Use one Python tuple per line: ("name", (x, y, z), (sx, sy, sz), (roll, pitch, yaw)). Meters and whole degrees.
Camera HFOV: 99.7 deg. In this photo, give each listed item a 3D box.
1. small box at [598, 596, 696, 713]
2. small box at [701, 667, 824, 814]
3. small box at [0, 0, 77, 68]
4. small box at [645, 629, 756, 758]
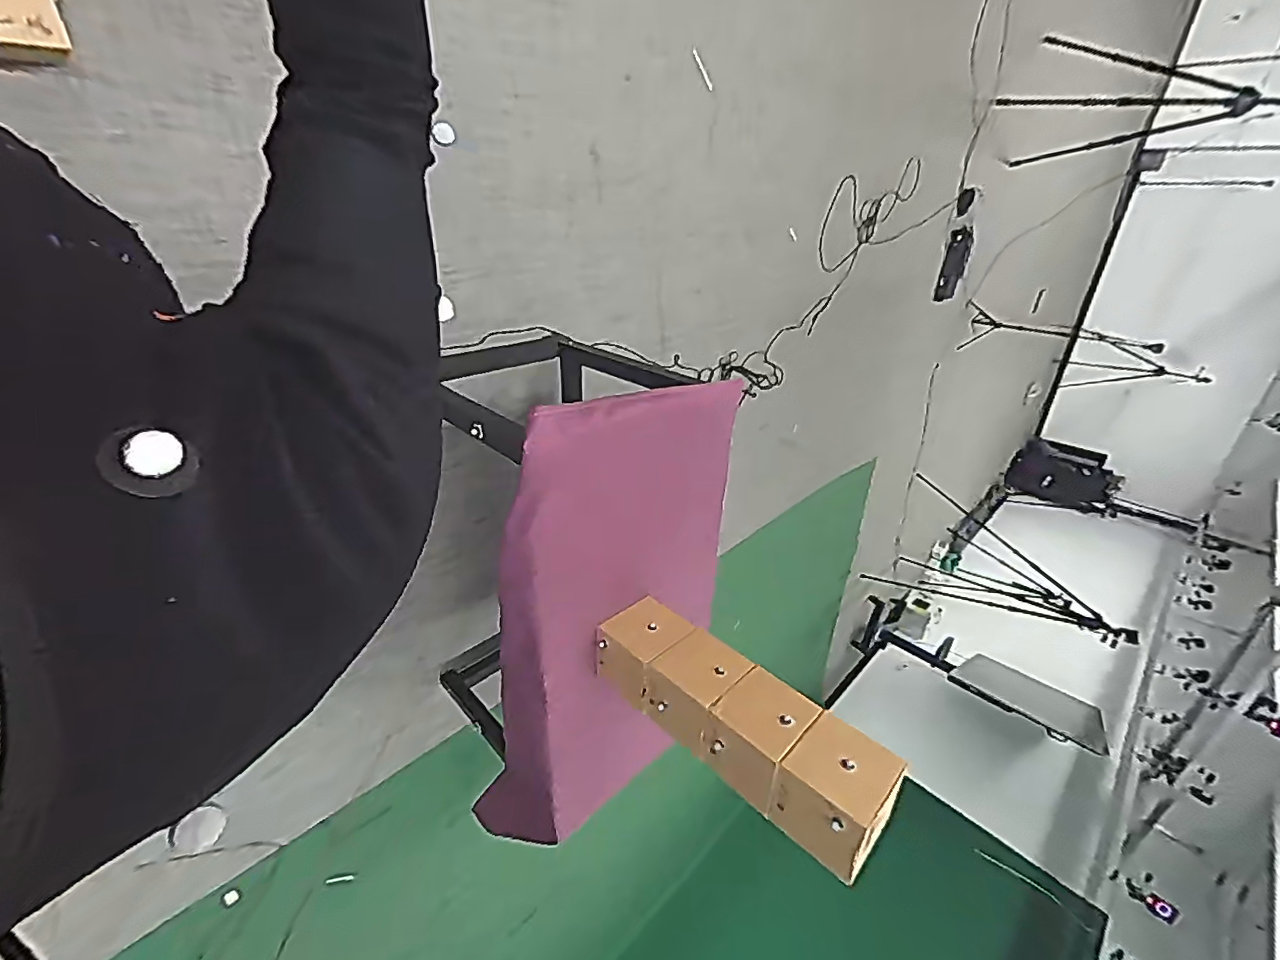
("small box", (0.012, 0.415, 1.314), (0.179, 0.176, 0.168), (-22, 126, -40))
("small box", (0.249, 0.523, 1.114), (0.179, 0.176, 0.168), (-22, 125, -39))
("small box", (-0.962, -0.722, 0.774), (0.168, 0.176, 0.179), (-25, 127, -38))
("small box", (0.132, 0.468, 1.214), (0.179, 0.176, 0.168), (-22, 125, -39))
